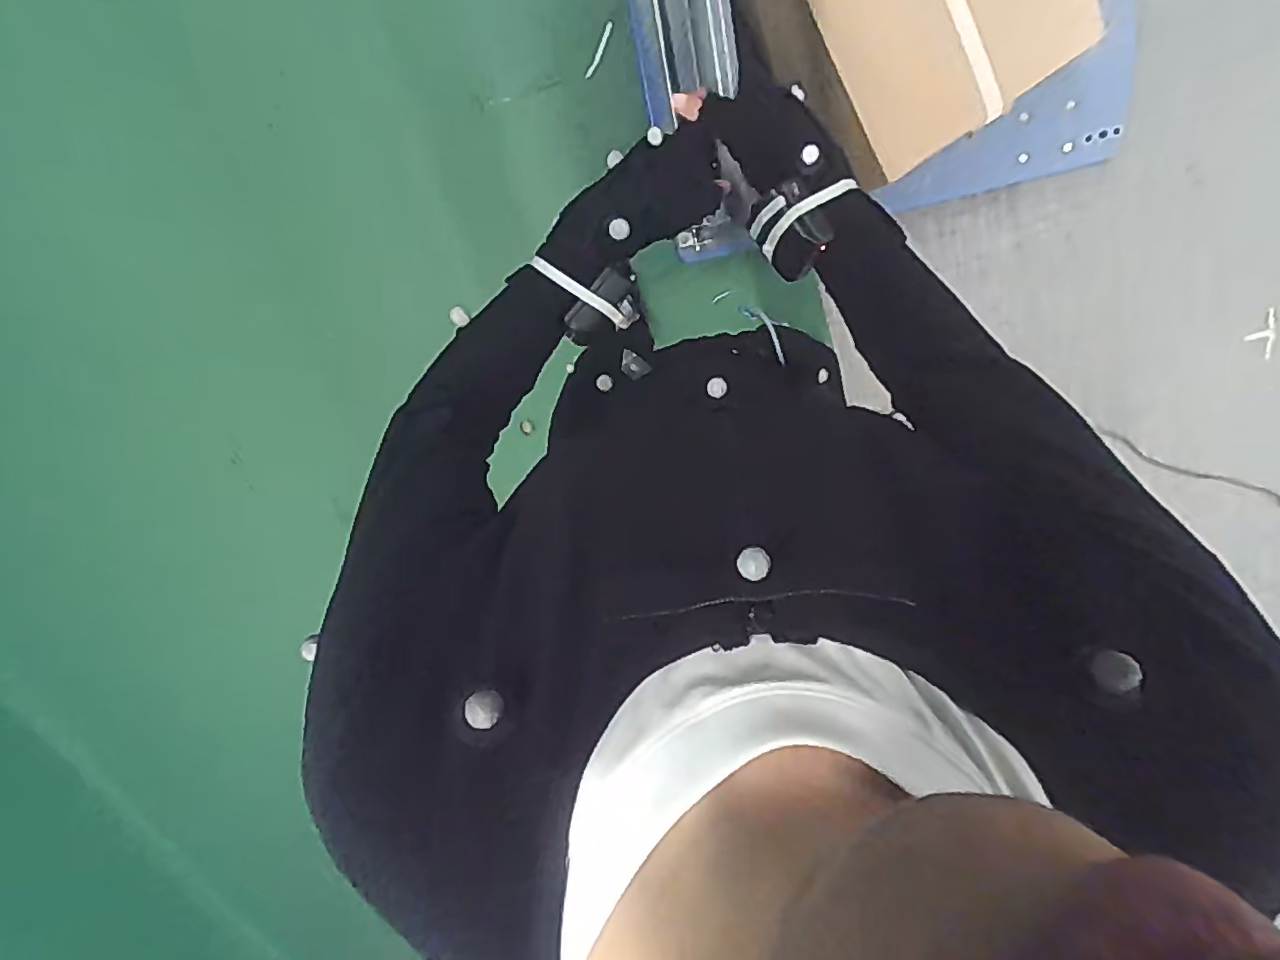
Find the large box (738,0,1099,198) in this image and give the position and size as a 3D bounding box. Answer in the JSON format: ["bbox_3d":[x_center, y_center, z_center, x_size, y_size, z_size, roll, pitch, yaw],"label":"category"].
[{"bbox_3d":[0.394,-0.730,0.848,0.320,0.320,0.408,-31,107,15],"label":"large box"}]
